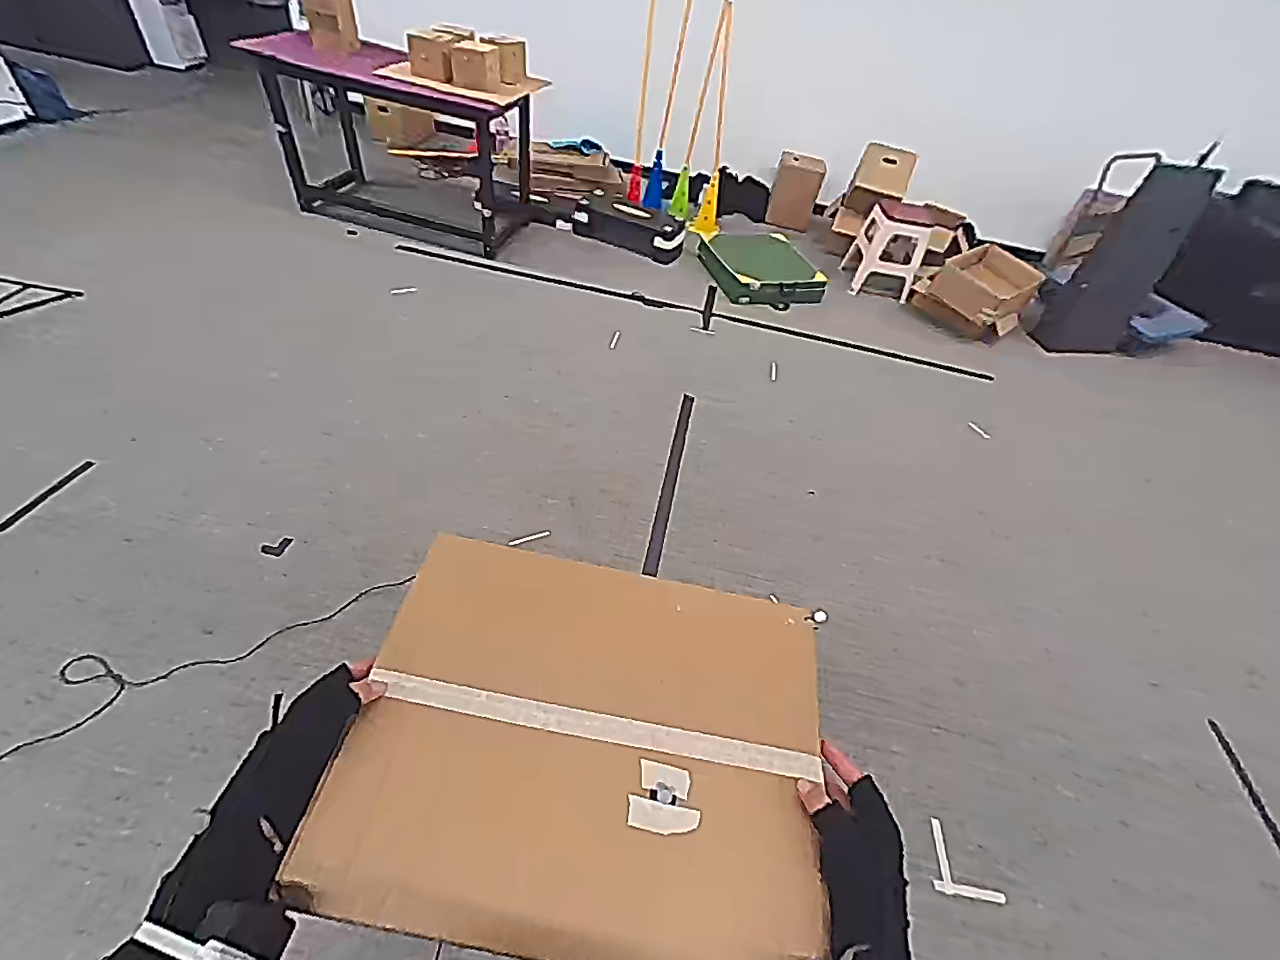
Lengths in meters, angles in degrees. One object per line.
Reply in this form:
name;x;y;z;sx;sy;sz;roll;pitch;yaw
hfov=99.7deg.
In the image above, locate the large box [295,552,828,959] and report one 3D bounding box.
large box;-0.057;0.320;0.599;0.408;0.320;0.320;12;52;-1
